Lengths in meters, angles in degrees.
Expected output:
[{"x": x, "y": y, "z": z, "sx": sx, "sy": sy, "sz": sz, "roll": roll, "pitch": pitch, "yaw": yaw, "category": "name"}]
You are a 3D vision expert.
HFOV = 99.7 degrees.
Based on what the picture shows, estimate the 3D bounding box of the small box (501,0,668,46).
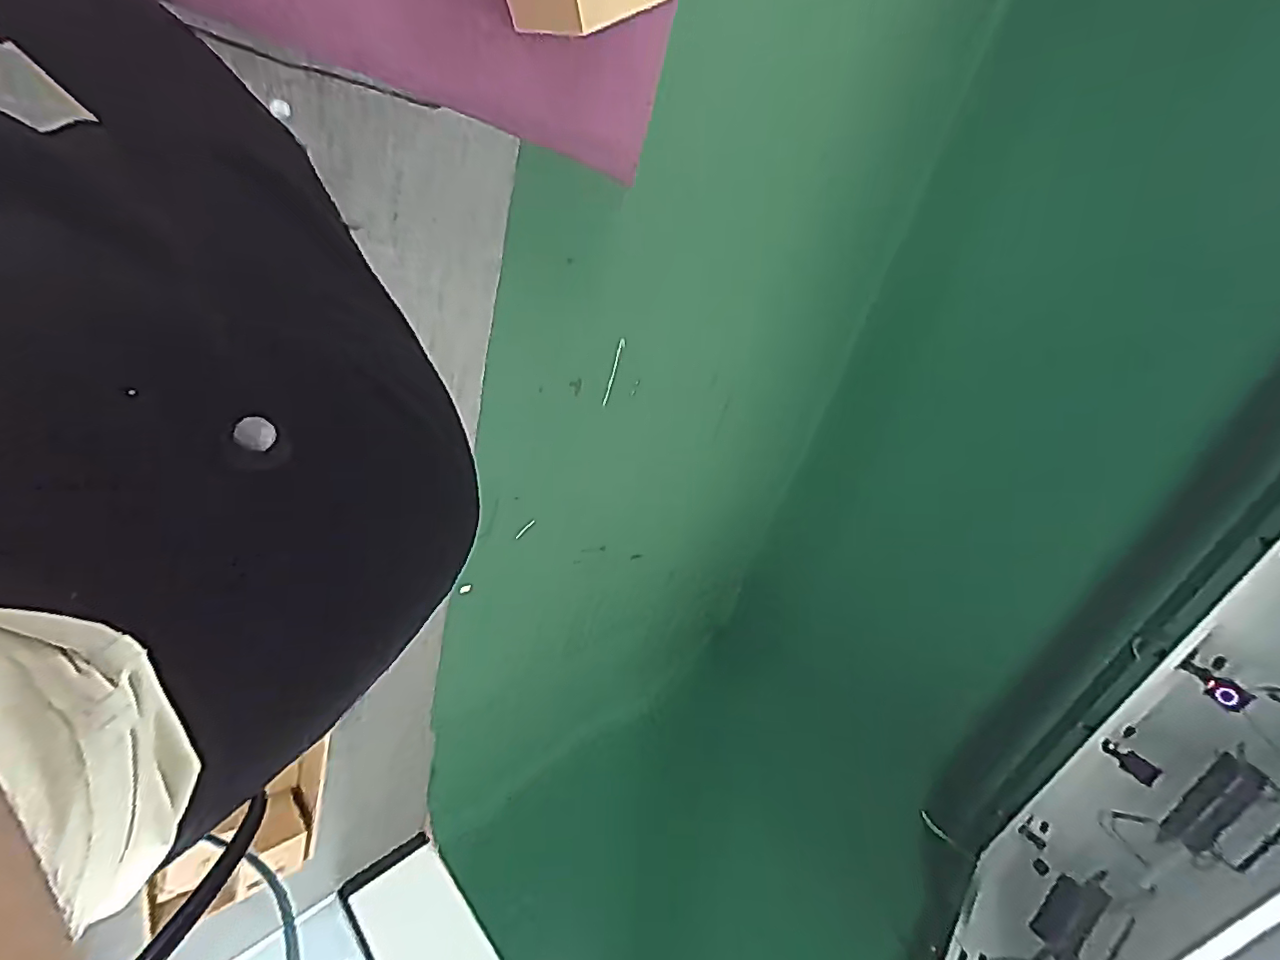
[{"x": -0.087, "y": -0.723, "z": 0.736, "sx": 0.179, "sy": 0.176, "sz": 0.168, "roll": -40, "pitch": 144, "yaw": -21, "category": "small box"}]
